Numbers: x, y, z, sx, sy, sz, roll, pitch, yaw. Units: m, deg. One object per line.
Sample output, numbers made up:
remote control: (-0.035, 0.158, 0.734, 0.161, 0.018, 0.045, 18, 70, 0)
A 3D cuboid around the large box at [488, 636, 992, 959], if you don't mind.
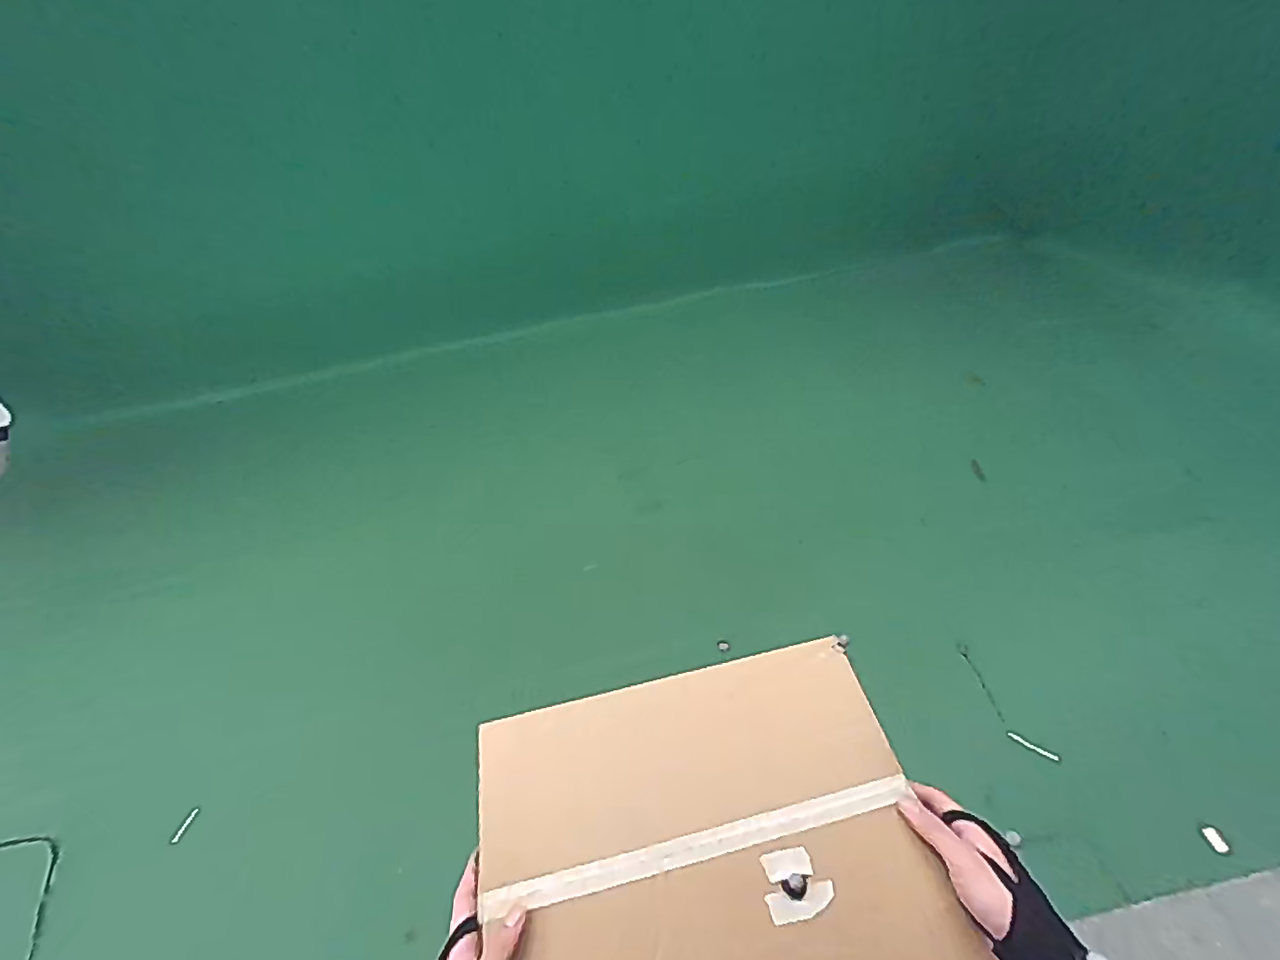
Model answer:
large box: (0.070, 0.432, 0.618, 0.408, 0.320, 0.320, -12, 49, -6)
